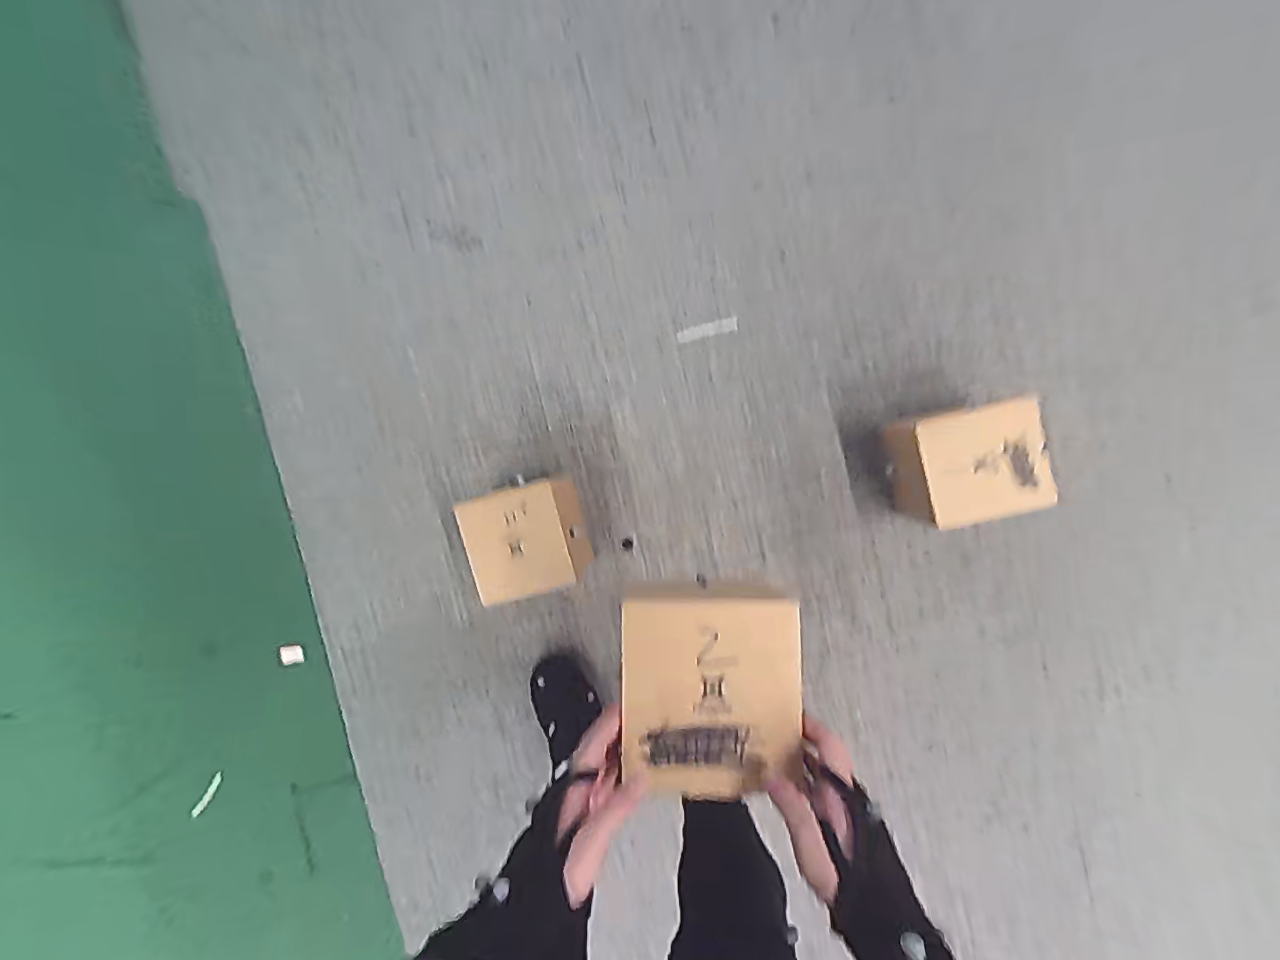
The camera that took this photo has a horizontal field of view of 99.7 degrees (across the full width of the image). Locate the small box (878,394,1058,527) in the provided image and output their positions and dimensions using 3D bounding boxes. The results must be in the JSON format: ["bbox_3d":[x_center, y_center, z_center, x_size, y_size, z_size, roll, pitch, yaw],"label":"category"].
[{"bbox_3d":[0.513,-0.034,0.868,0.179,0.176,0.168,-14,92,7],"label":"small box"}]

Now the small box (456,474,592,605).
[{"bbox_3d":[-0.191,0.095,0.946,0.168,0.176,0.179,-15,92,6],"label":"small box"}]
